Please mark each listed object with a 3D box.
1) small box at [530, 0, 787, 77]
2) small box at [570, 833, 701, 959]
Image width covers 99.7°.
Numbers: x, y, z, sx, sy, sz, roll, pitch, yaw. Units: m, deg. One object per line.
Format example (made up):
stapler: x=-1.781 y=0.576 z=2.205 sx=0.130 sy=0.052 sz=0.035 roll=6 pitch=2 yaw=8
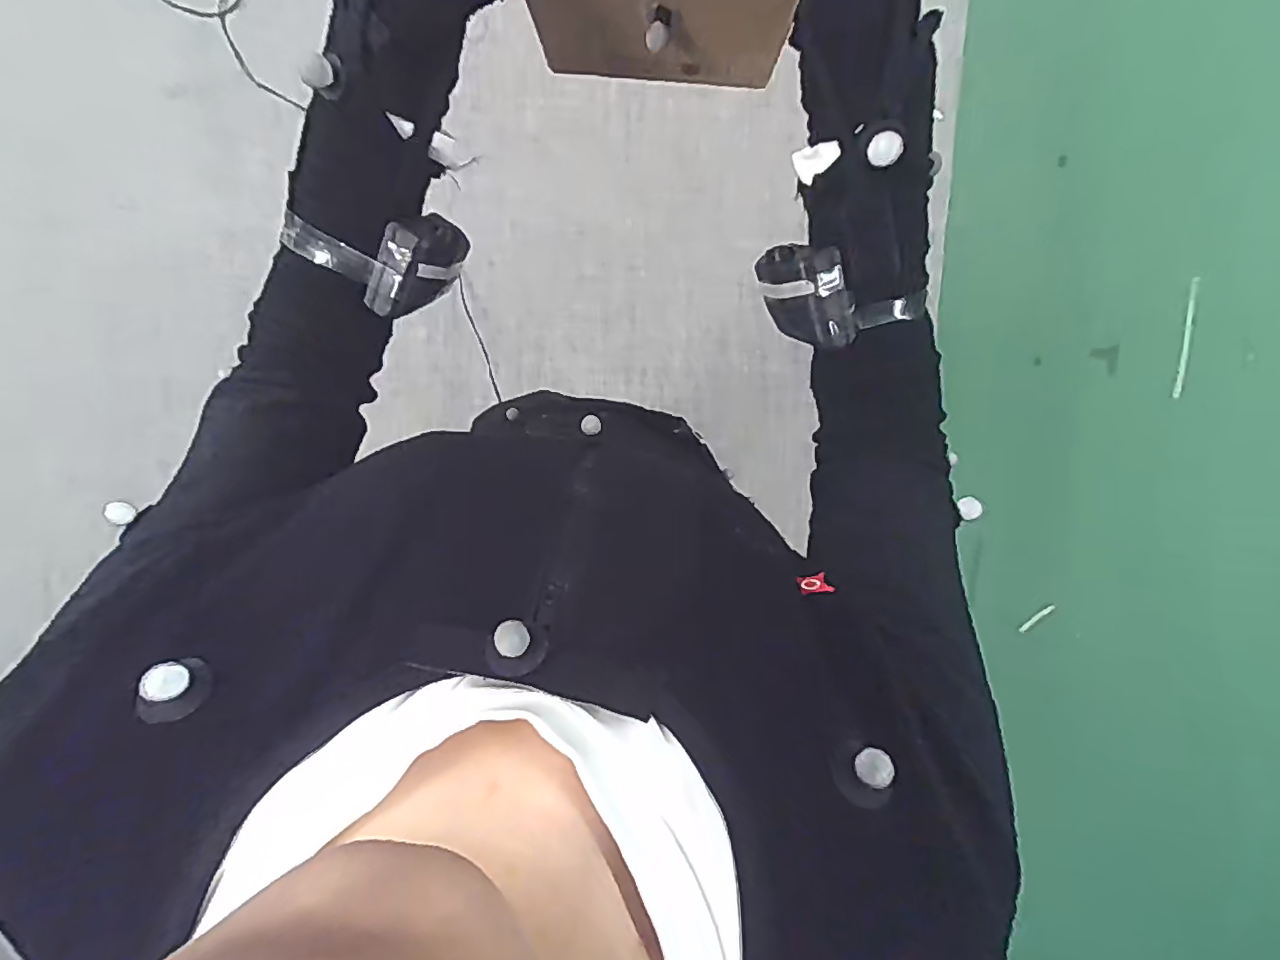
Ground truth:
small box: x=0.015 y=-0.370 z=0.312 sx=0.168 sy=0.176 sz=0.179 roll=5 pitch=103 yaw=2
small box: x=-0.010 y=0.665 z=0.808 sx=0.179 sy=0.176 sz=0.168 roll=3 pitch=93 yaw=0
